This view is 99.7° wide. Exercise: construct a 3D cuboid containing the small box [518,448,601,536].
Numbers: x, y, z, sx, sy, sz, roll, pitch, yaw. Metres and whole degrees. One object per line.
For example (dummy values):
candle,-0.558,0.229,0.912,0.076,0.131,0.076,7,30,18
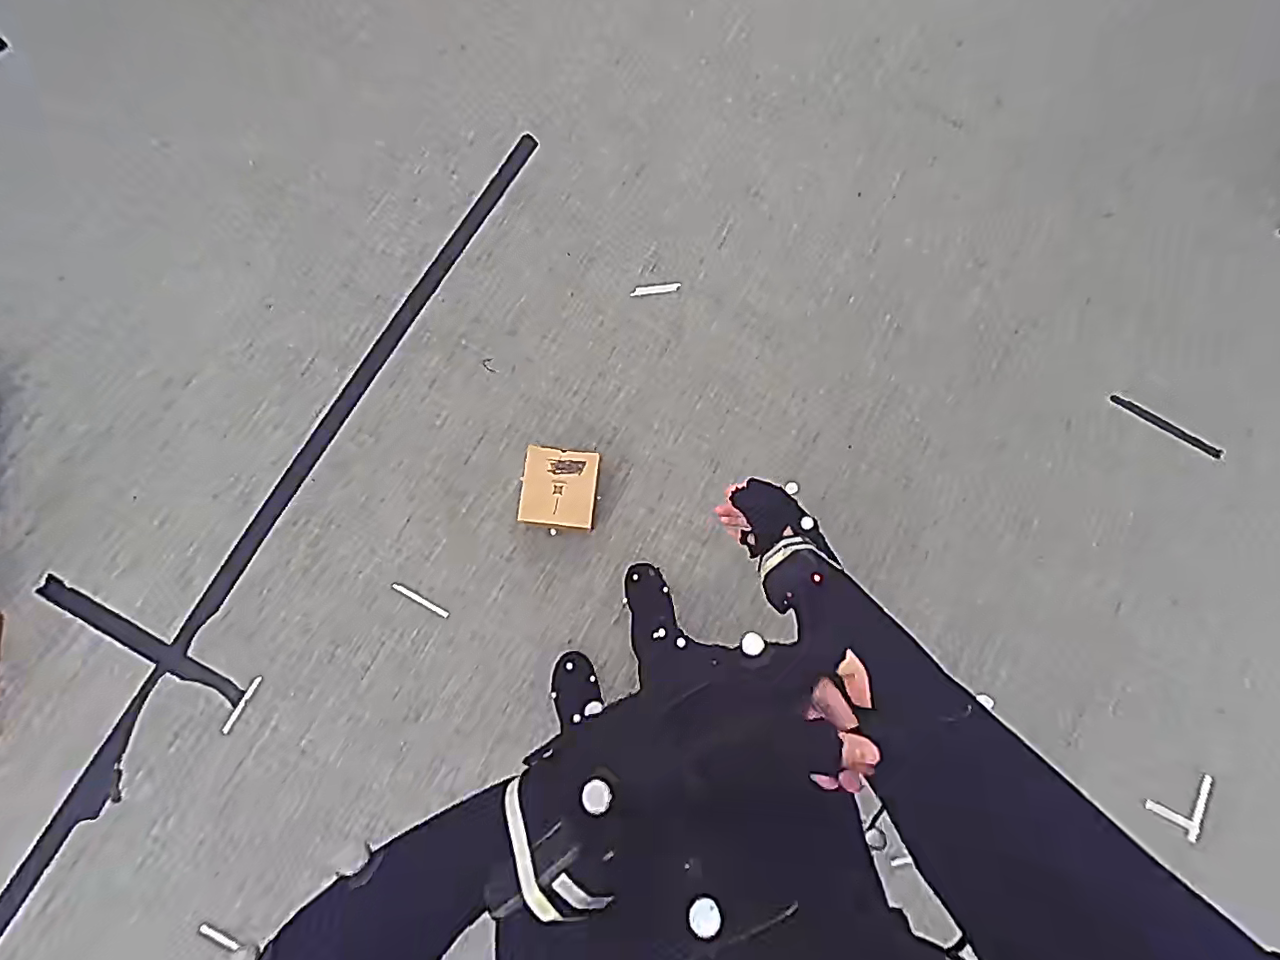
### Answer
small box,-0.188,0.035,1.296,0.168,0.176,0.179,7,81,-4
